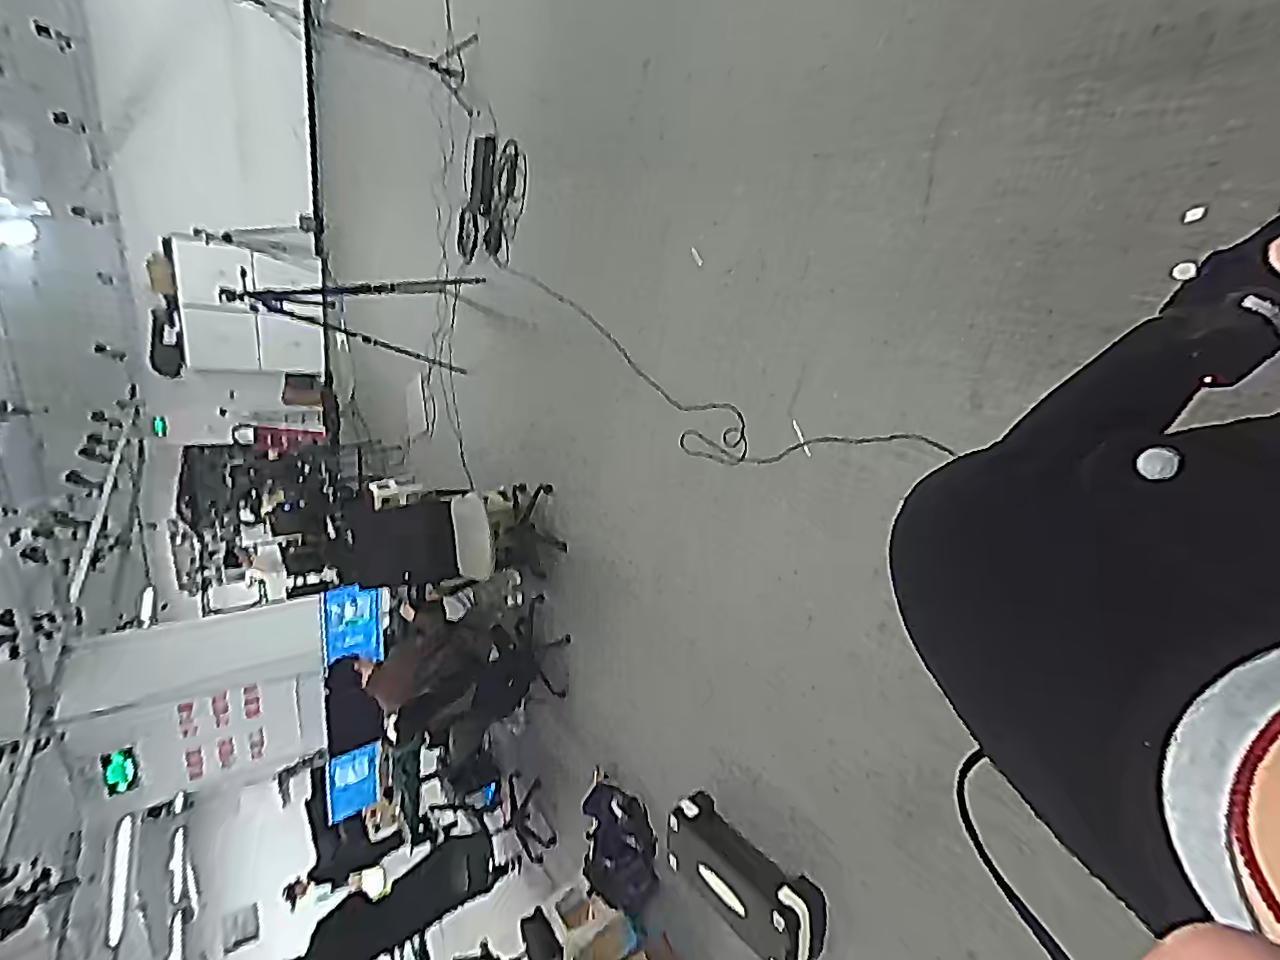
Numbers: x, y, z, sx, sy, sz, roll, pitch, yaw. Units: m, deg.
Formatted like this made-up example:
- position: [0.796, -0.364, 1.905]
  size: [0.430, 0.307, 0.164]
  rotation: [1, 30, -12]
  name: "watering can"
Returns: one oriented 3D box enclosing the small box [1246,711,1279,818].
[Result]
- position: [1.262, 0.537, 0.984]
  size: [0.168, 0.176, 0.179]
  rotation: [25, 114, 45]
  name: "small box"
